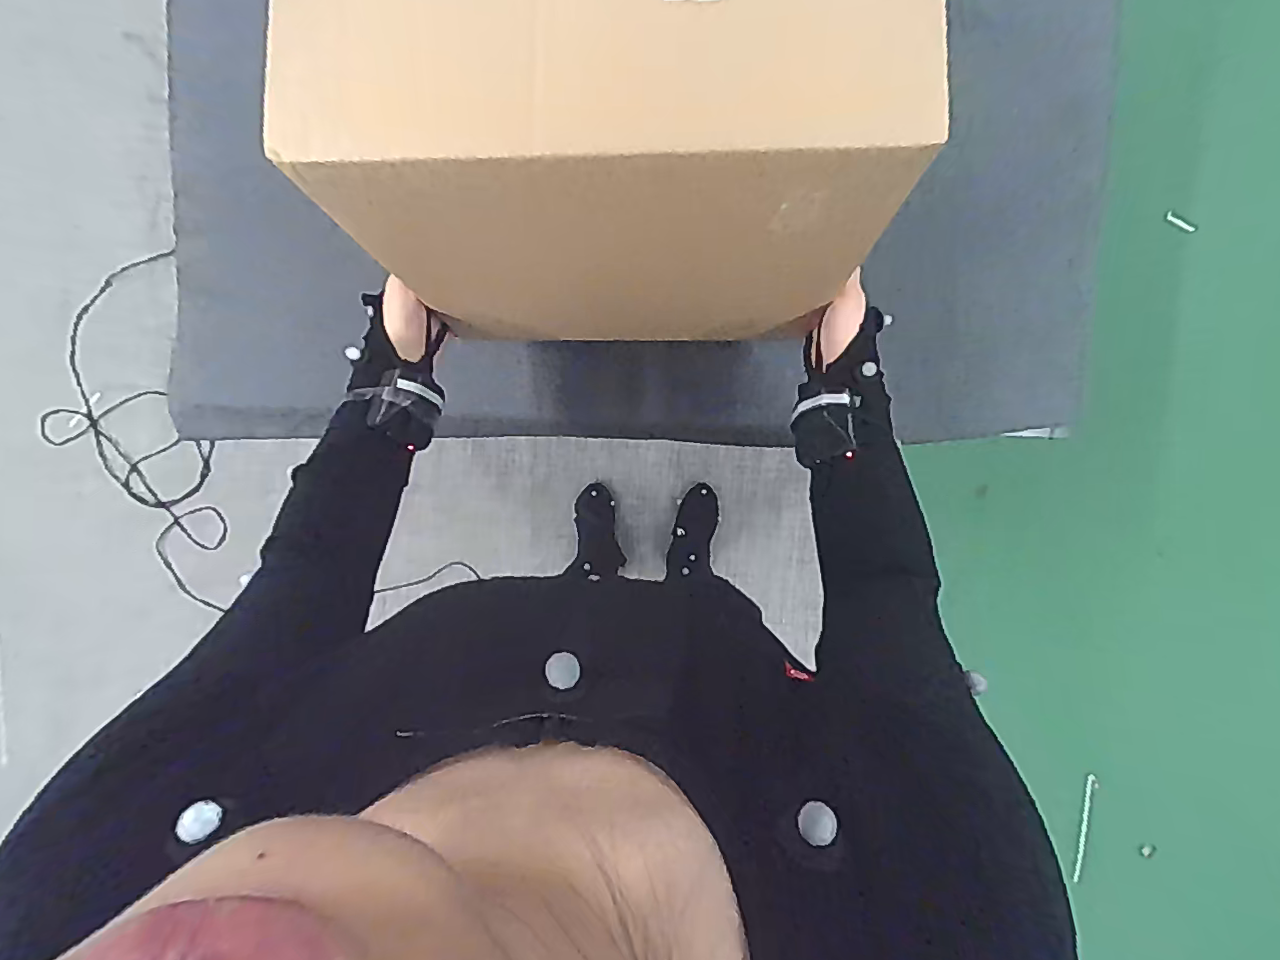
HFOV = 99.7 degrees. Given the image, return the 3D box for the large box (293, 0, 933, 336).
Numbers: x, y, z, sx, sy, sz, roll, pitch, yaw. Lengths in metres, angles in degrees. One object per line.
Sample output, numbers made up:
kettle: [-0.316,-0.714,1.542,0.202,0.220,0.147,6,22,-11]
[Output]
large box: [-0.017,-0.336,0.495,0.408,0.320,0.320,0,85,2]
